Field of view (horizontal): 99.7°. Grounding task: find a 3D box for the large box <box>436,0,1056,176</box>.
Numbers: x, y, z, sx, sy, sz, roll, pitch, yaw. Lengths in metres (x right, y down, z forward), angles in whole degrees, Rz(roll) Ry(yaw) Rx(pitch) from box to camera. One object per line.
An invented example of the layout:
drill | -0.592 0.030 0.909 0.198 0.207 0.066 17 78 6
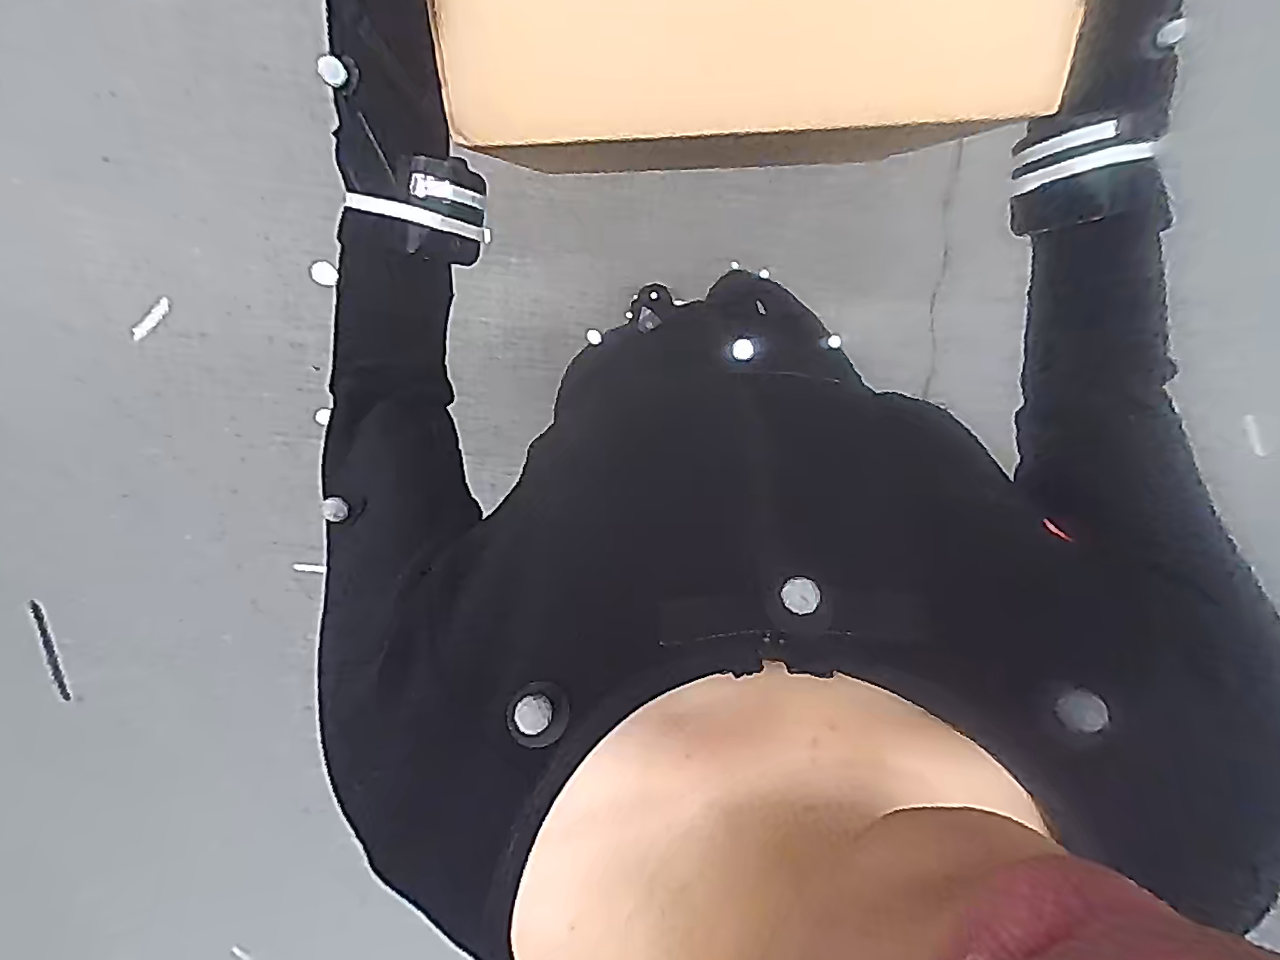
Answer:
large box | 0.063 -0.450 0.442 0.408 0.320 0.320 -2 116 3
